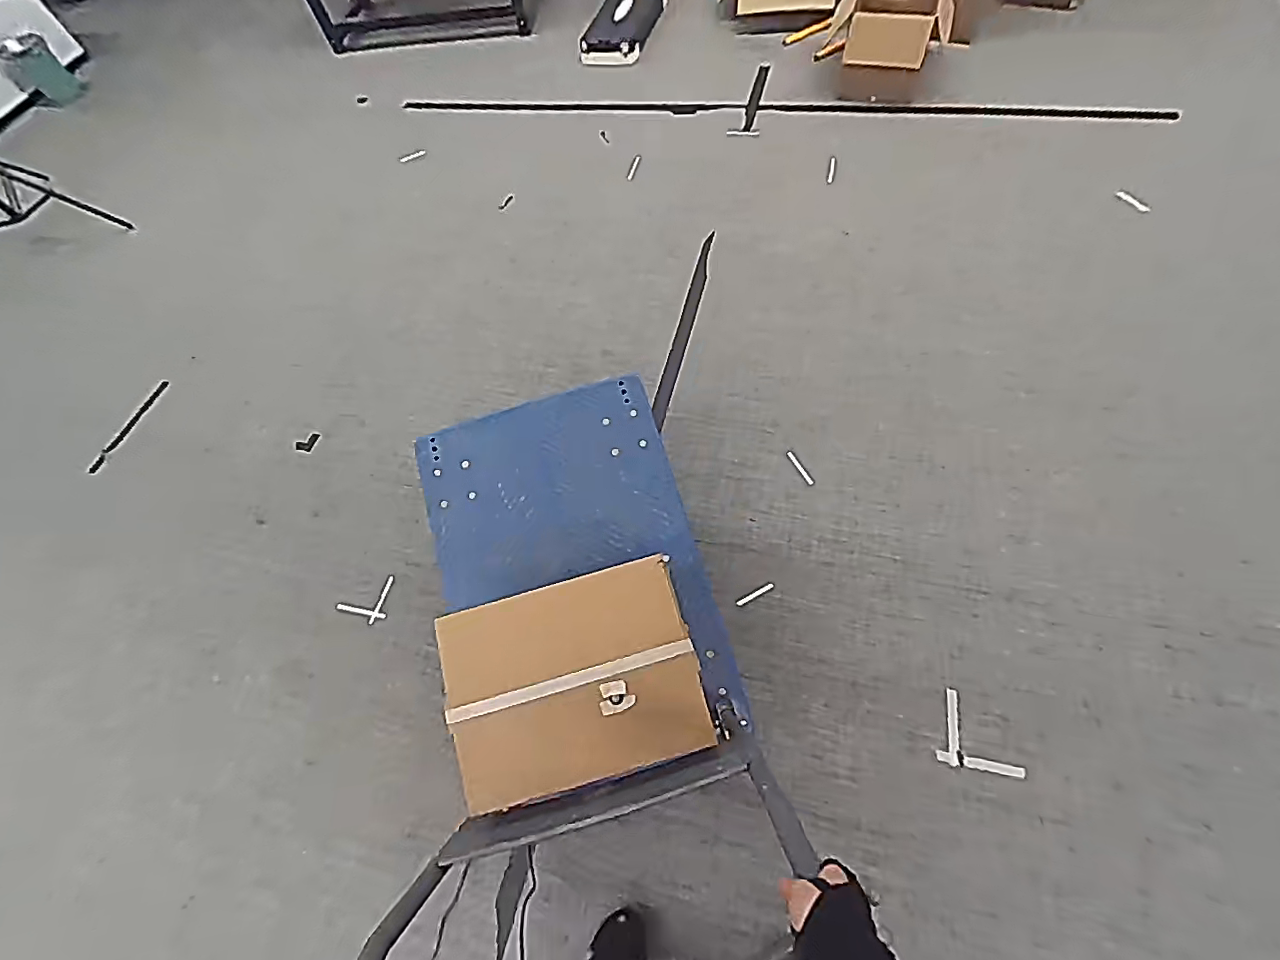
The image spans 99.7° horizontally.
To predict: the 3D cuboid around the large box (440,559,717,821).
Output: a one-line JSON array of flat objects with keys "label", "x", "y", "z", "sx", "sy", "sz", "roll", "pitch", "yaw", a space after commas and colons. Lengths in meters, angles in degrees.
[{"label": "large box", "x": -0.104, "y": 0.372, "z": 1.027, "sx": 0.408, "sy": 0.320, "sz": 0.320, "roll": -16, "pitch": 76, "yaw": -2}]
